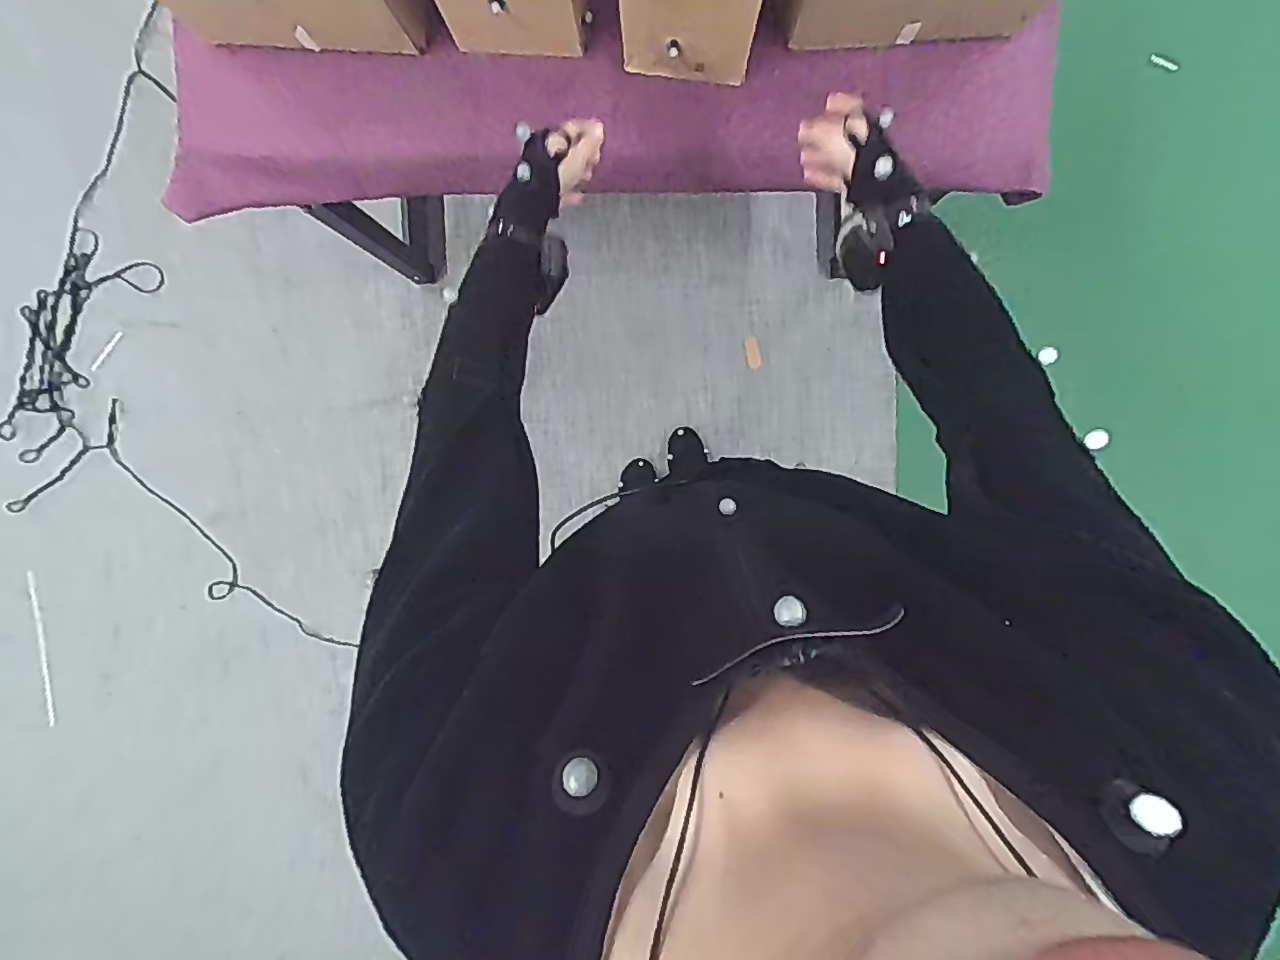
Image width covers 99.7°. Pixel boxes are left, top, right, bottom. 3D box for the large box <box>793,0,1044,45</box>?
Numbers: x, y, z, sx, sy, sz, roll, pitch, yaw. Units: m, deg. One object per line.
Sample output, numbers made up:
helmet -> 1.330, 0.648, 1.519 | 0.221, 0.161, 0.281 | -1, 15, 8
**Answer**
large box -> 0.343, -0.780, 0.565 | 0.320, 0.320, 0.408 | -1, 95, 4
